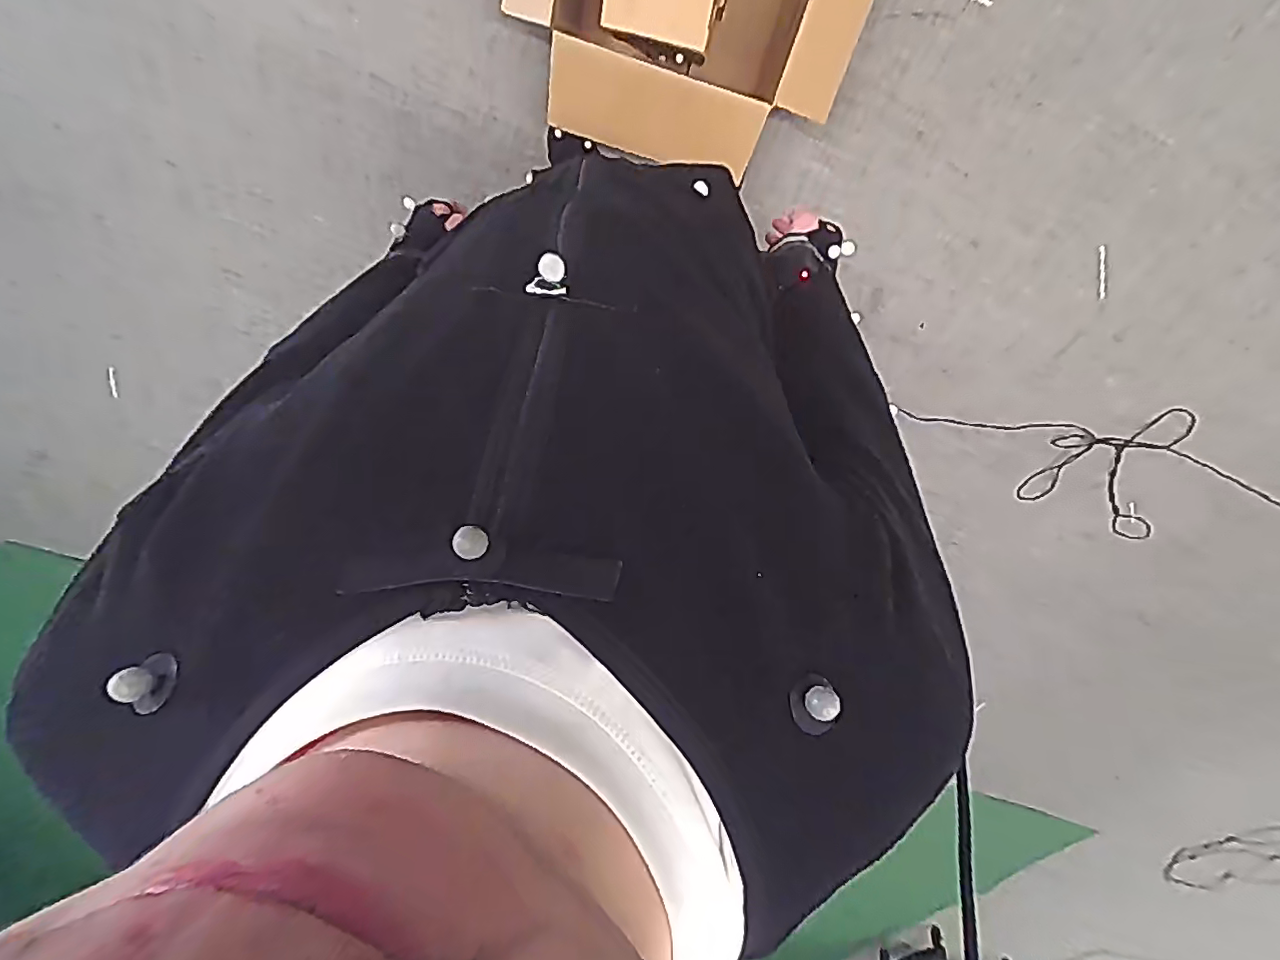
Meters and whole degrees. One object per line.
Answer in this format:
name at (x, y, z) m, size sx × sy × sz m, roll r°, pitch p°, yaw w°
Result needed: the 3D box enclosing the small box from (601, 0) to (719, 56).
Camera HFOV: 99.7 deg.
small box at (0.047, -0.824, 0.889) m, size 0.179 × 0.176 × 0.168 m, roll 14°, pitch 122°, yaw 0°
